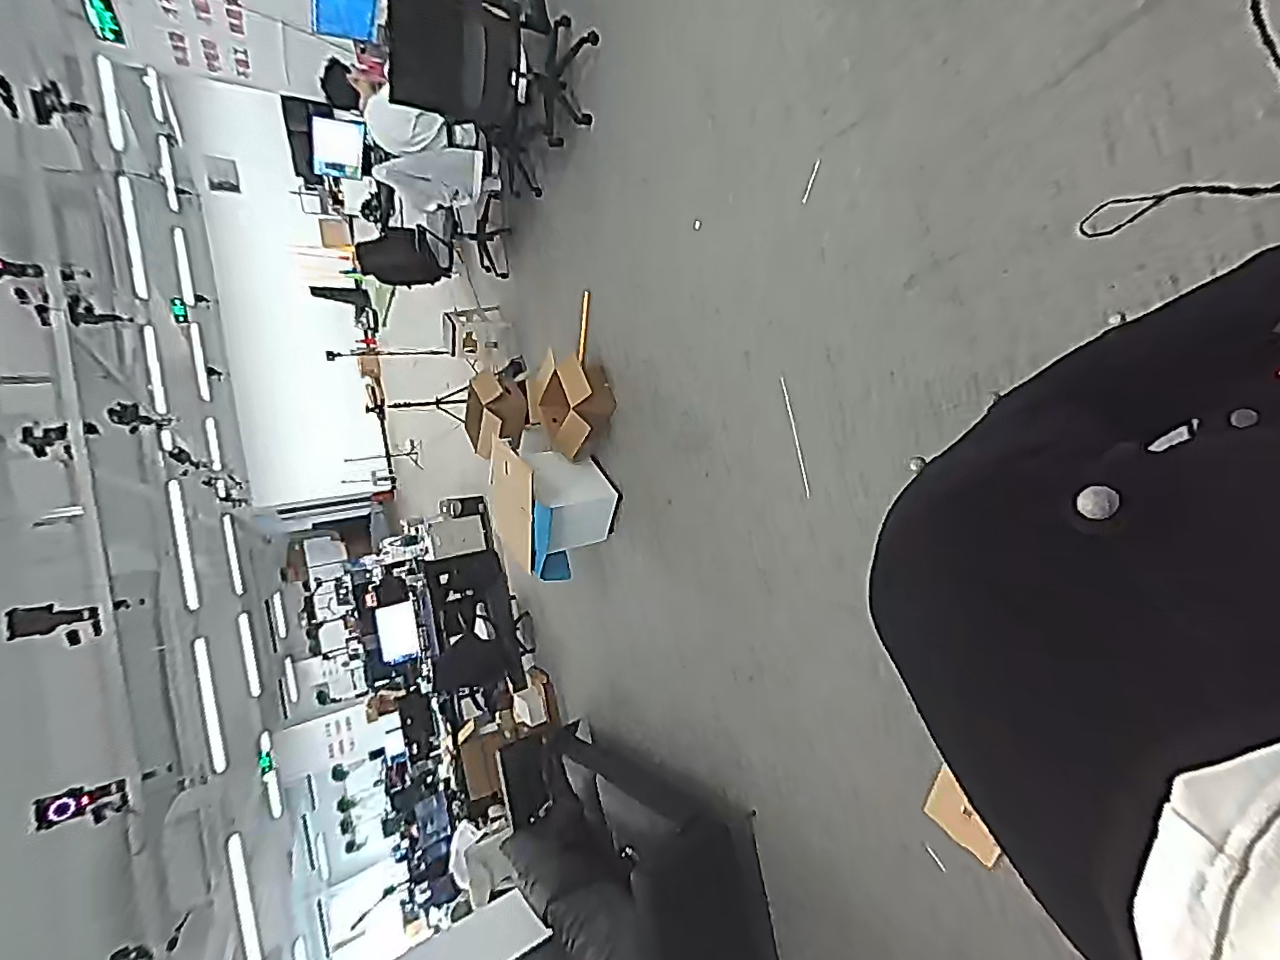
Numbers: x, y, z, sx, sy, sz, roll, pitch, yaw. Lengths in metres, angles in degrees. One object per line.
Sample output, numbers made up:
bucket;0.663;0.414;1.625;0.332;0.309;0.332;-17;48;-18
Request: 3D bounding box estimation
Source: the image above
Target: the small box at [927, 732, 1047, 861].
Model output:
small box;0.840;0.756;1.308;0.168;0.176;0.179;34;124;48
